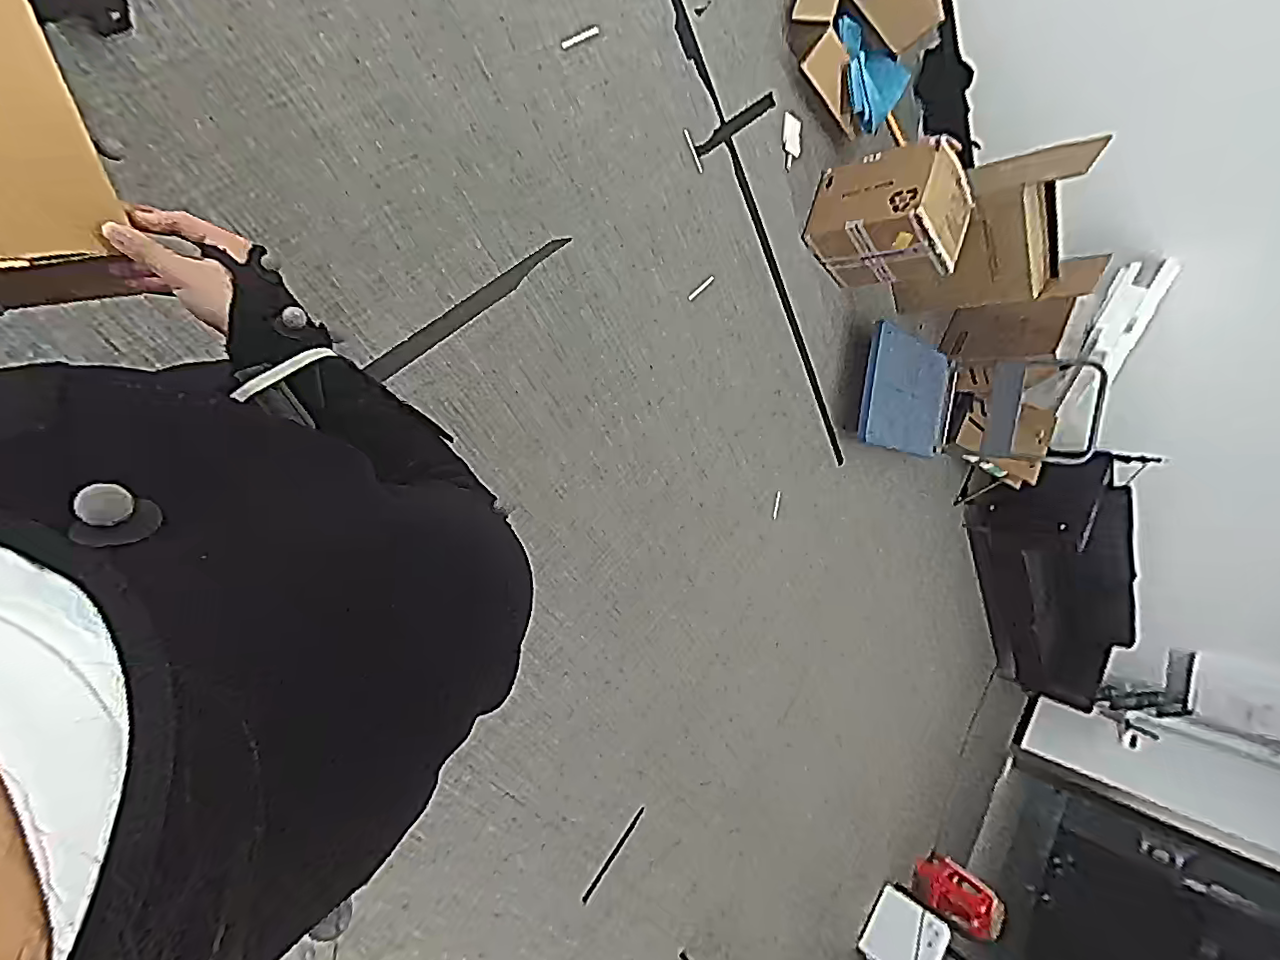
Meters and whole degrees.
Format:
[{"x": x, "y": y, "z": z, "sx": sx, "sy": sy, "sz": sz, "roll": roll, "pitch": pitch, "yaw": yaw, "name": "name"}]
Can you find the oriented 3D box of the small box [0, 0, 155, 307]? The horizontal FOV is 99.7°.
[{"x": -0.470, "y": -0.219, "z": 0.363, "sx": 0.168, "sy": 0.176, "sz": 0.179, "roll": -26, "pitch": 113, "yaw": -38, "name": "small box"}]
